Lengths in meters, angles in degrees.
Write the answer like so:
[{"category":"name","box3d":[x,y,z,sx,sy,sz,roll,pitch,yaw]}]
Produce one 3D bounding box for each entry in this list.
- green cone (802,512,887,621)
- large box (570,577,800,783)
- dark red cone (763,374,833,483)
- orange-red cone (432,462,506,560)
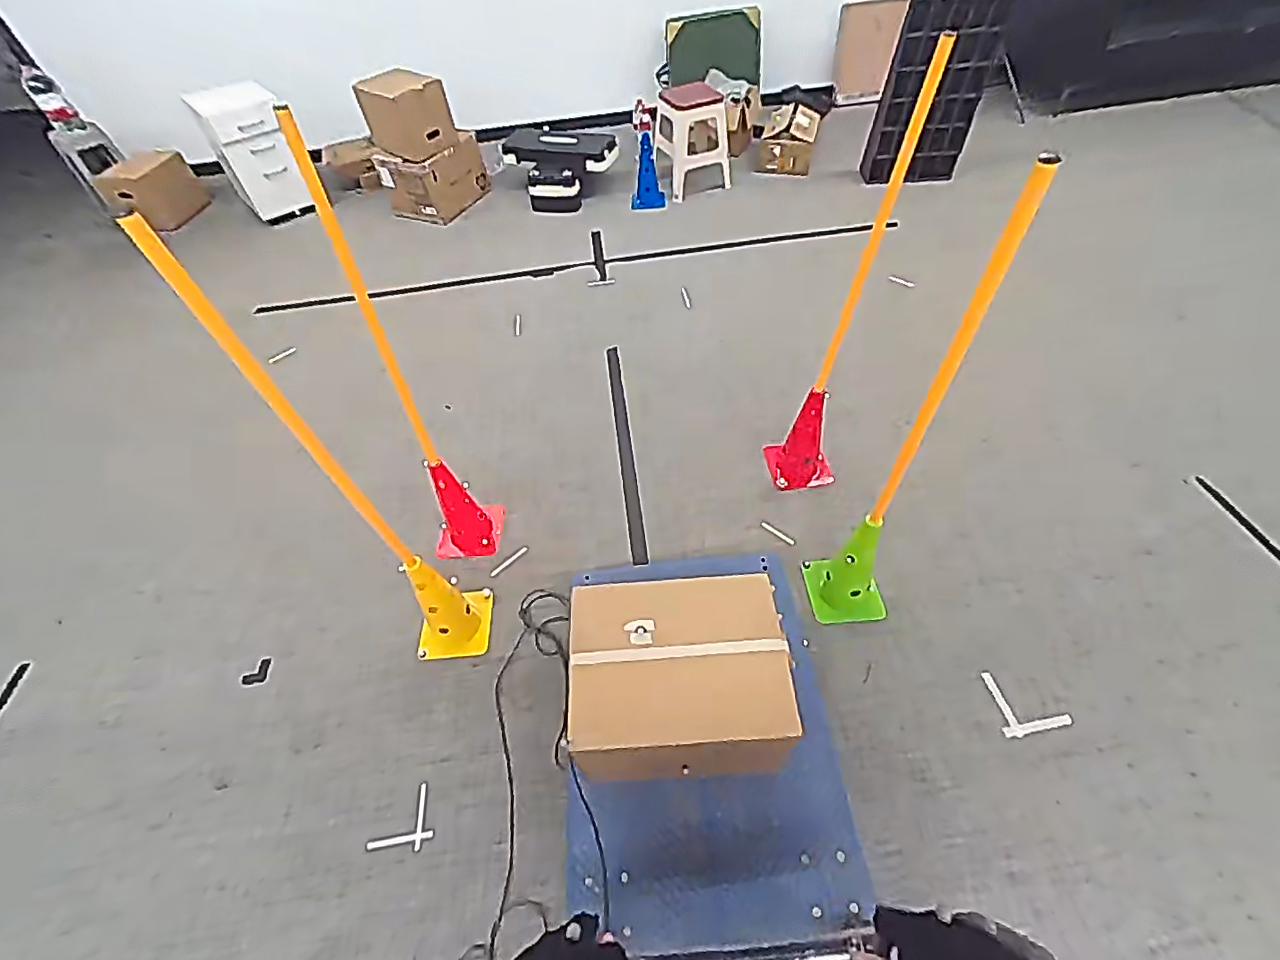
[{"category":"green cone","box3d":[0.584,0.209,1.451,0.202,0.368,0.200,-5,51,0]},{"category":"large box","box3d":[0.082,0.428,1.135,0.408,0.320,0.320,-5,51,2]},{"category":"dark red cone","box3d":[0.539,-0.175,1.745,0.201,0.394,0.202,-7,51,-3]},{"category":"orange-red cone","box3d":[-0.565,0.072,1.672,0.198,0.360,0.199,-2,49,2]}]
